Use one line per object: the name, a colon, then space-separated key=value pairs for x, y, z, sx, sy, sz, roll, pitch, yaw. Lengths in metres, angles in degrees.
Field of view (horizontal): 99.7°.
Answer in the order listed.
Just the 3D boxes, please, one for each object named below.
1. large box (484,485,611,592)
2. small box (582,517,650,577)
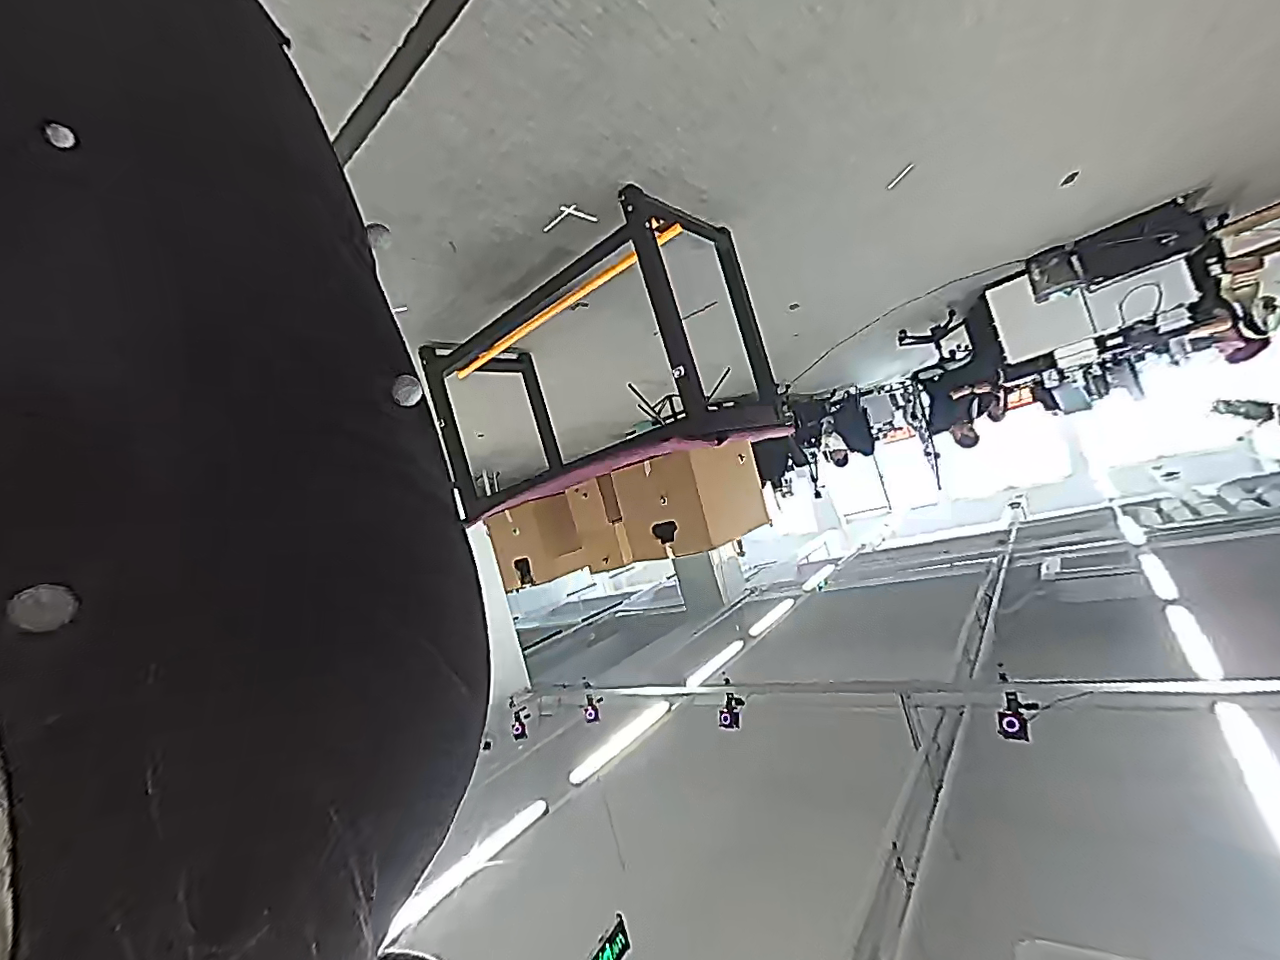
large box: x=-0.355 y=0.232 z=2.214 sx=0.320 sy=0.320 sz=0.408 roll=-18 pitch=178 yaw=38
small box: x=-0.094 y=0.242 z=1.976 sx=0.179 sy=0.176 sz=0.168 roll=-20 pitch=176 yaw=36
